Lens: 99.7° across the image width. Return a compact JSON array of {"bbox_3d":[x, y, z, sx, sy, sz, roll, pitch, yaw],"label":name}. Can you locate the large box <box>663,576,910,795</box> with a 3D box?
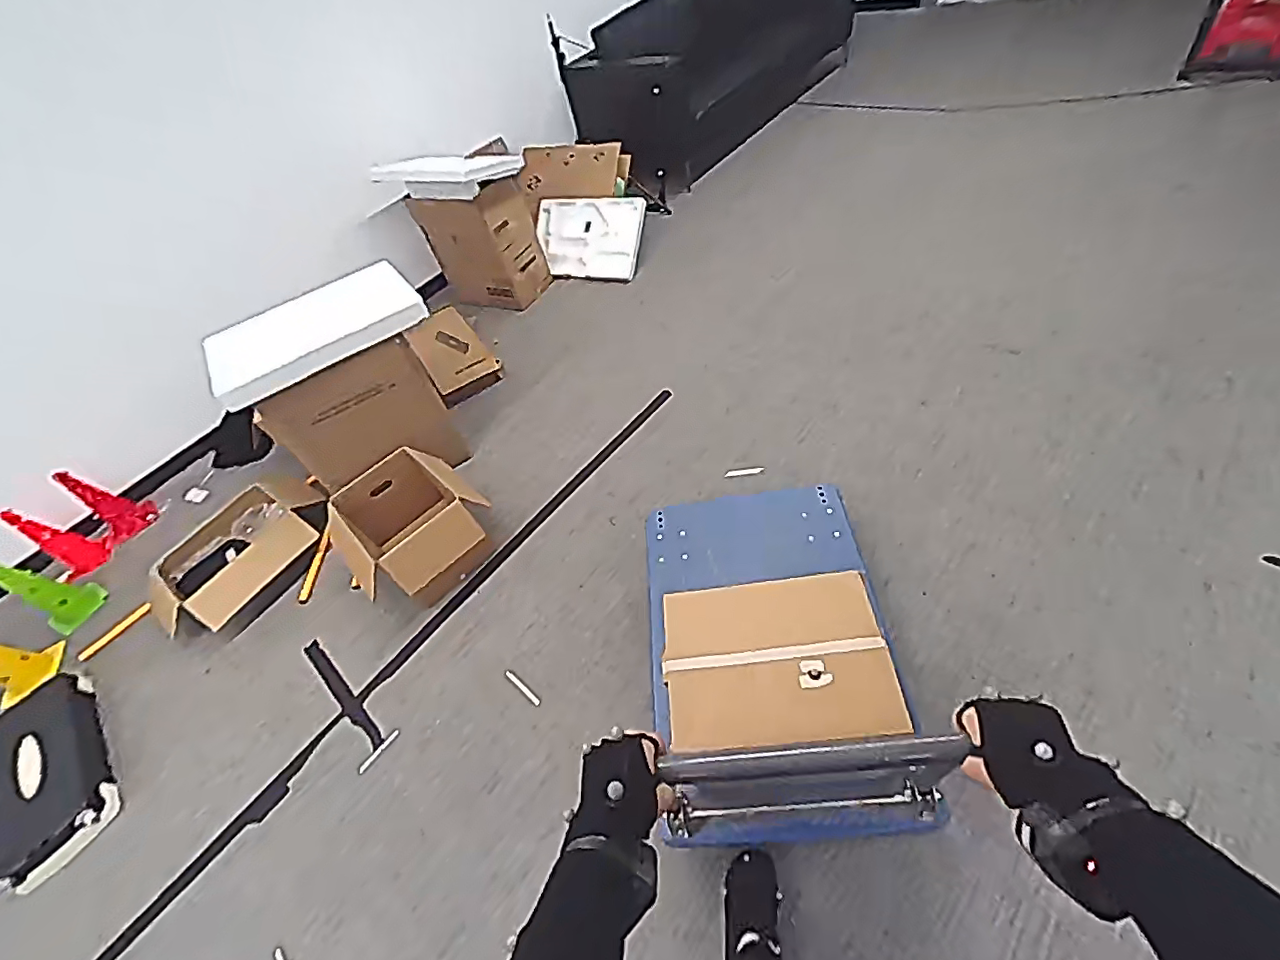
[{"bbox_3d":[0.274,0.433,1.120,0.408,0.320,0.320,-9,50,7],"label":"large box"}]
